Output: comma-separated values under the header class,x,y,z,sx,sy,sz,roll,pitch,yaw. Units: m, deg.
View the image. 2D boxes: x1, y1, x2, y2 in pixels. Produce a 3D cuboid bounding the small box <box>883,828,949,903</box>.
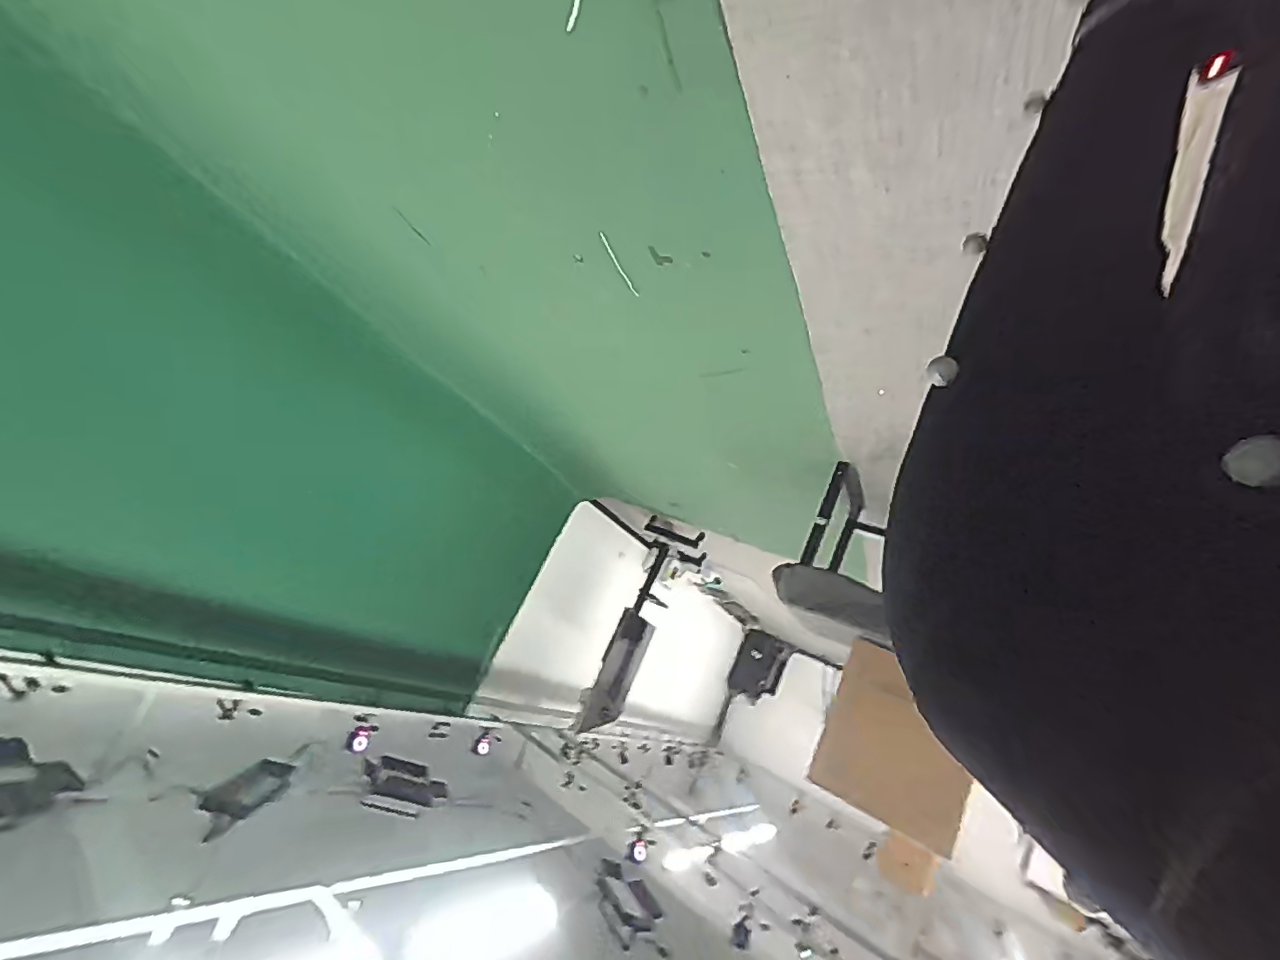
class,x,y,z,sx,sy,sz,roll,pitch,yaw
small box,1.042,1.442,2.036,0.179,0.176,0.168,14,160,38
